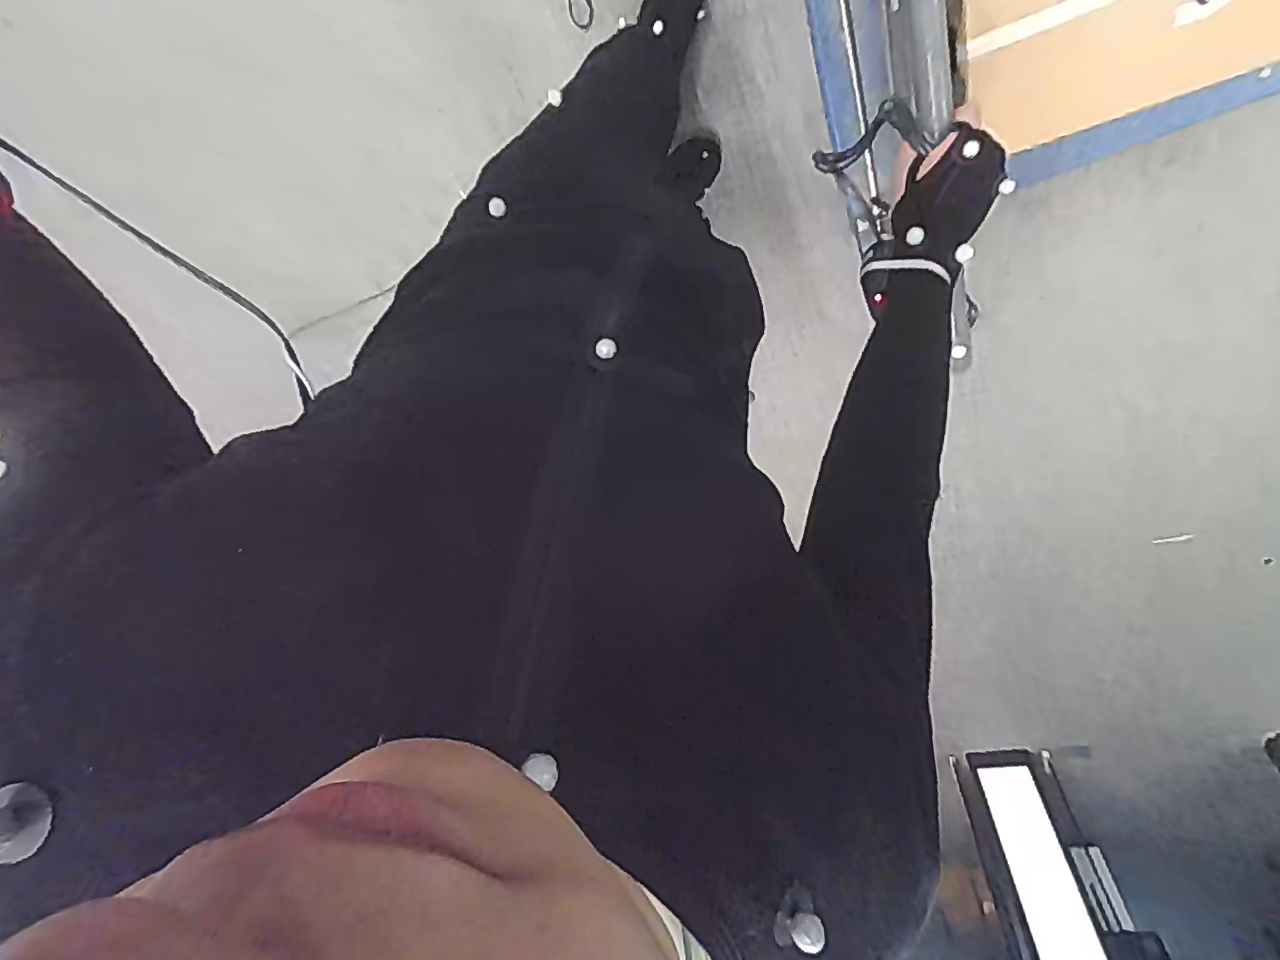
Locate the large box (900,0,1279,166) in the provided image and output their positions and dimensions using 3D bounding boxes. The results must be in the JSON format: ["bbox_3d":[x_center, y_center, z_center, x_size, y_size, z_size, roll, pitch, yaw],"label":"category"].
[{"bbox_3d":[0.639,-0.729,0.800,0.408,0.320,0.320,-12,127,18],"label":"large box"}]
